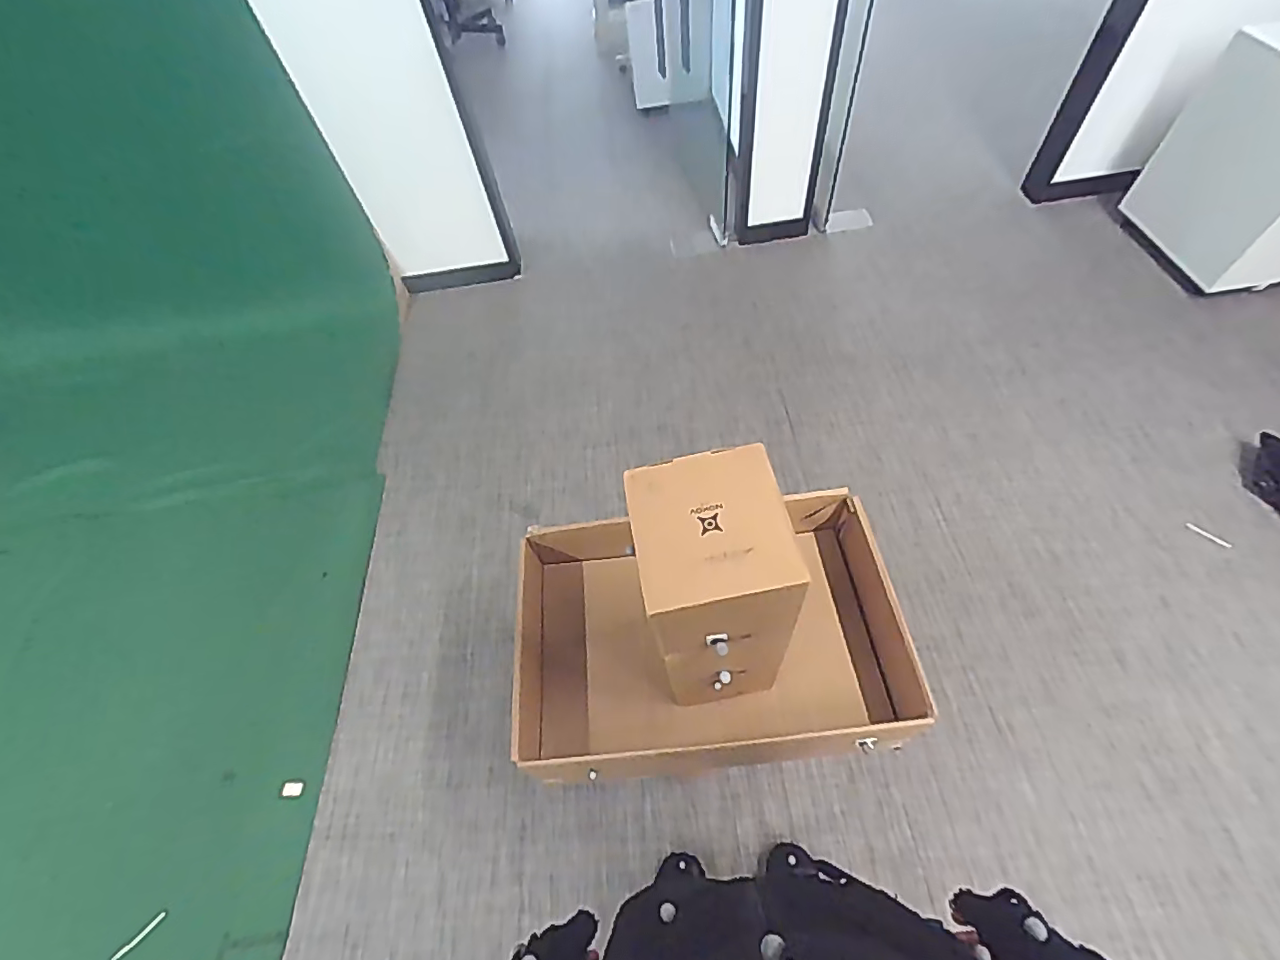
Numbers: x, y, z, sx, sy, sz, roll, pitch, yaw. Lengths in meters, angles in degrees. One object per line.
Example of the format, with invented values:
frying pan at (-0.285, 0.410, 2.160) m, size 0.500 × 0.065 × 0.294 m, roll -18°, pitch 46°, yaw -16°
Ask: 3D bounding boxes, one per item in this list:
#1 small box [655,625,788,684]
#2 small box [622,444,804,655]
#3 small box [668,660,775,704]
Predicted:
small box at (0.099, 0.174, 0.778) m, size 0.168 × 0.176 × 0.179 m, roll -11°, pitch 57°, yaw 1°
small box at (0.080, 0.087, 0.643) m, size 0.168 × 0.176 × 0.179 m, roll -12°, pitch 57°, yaw 2°
small box at (0.120, 0.259, 0.916) m, size 0.168 × 0.176 × 0.179 m, roll -13°, pitch 55°, yaw 2°
